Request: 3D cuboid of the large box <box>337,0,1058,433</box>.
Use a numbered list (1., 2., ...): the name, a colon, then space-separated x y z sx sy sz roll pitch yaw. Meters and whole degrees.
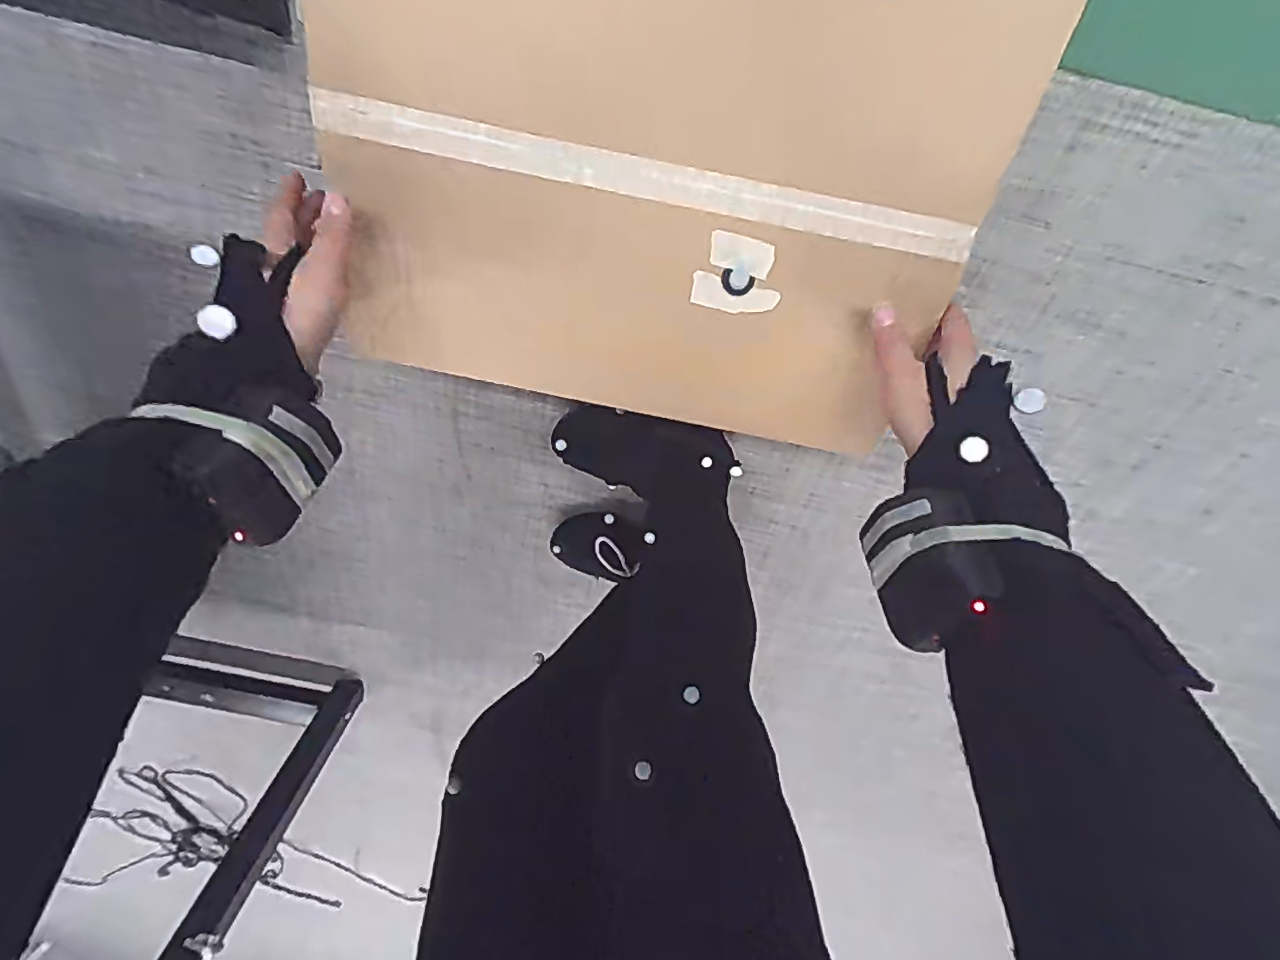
1. large box: 0.019 -0.271 0.470 0.408 0.320 0.320 10 122 -2
